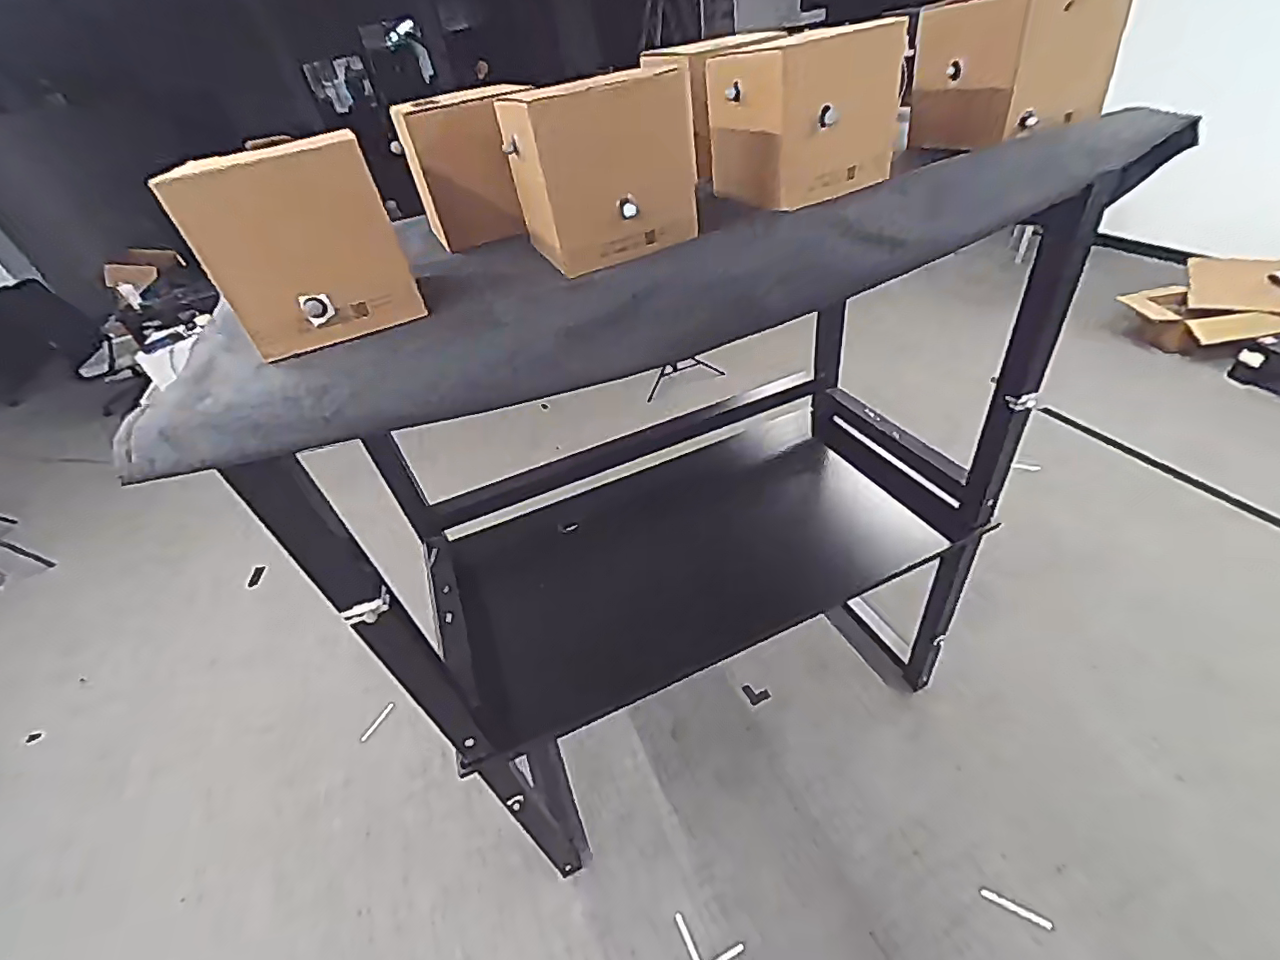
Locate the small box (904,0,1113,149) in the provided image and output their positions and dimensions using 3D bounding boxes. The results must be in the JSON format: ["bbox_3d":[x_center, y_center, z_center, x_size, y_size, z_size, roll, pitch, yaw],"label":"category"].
[{"bbox_3d":[0.494,-0.565,0.740,0.168,0.176,0.179,-20,37,-10],"label":"small box"}]

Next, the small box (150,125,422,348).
[{"bbox_3d":[-0.350,-0.259,0.571,0.168,0.176,0.179,-23,39,-15],"label":"small box"}]

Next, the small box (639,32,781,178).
[{"bbox_3d":[0.114,-0.610,0.890,0.168,0.176,0.179,-22,40,-13],"label":"small box"}]

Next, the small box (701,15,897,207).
[{"bbox_3d":[0.197,-0.466,0.697,0.168,0.176,0.179,-21,38,-12],"label":"small box"}]
